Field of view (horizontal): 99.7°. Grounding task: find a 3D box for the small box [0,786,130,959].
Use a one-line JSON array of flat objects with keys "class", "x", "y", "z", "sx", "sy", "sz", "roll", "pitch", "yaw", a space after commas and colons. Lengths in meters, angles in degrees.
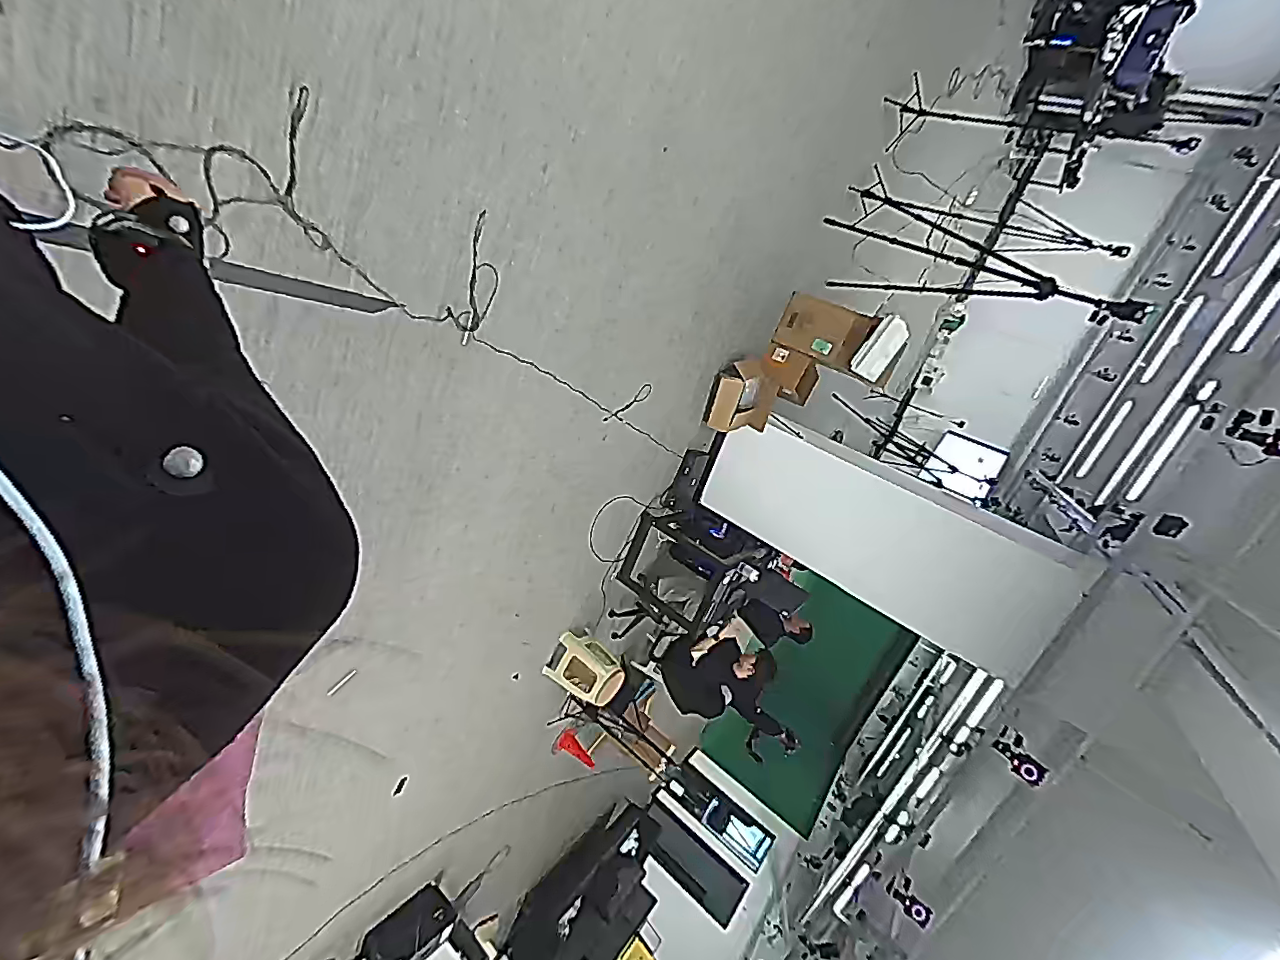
[{"class": "small box", "x": -0.937, "y": 0.617, "z": 0.838, "sx": 0.168, "sy": 0.176, "sz": 0.179, "roll": -3, "pitch": 120, "yaw": -58}]
